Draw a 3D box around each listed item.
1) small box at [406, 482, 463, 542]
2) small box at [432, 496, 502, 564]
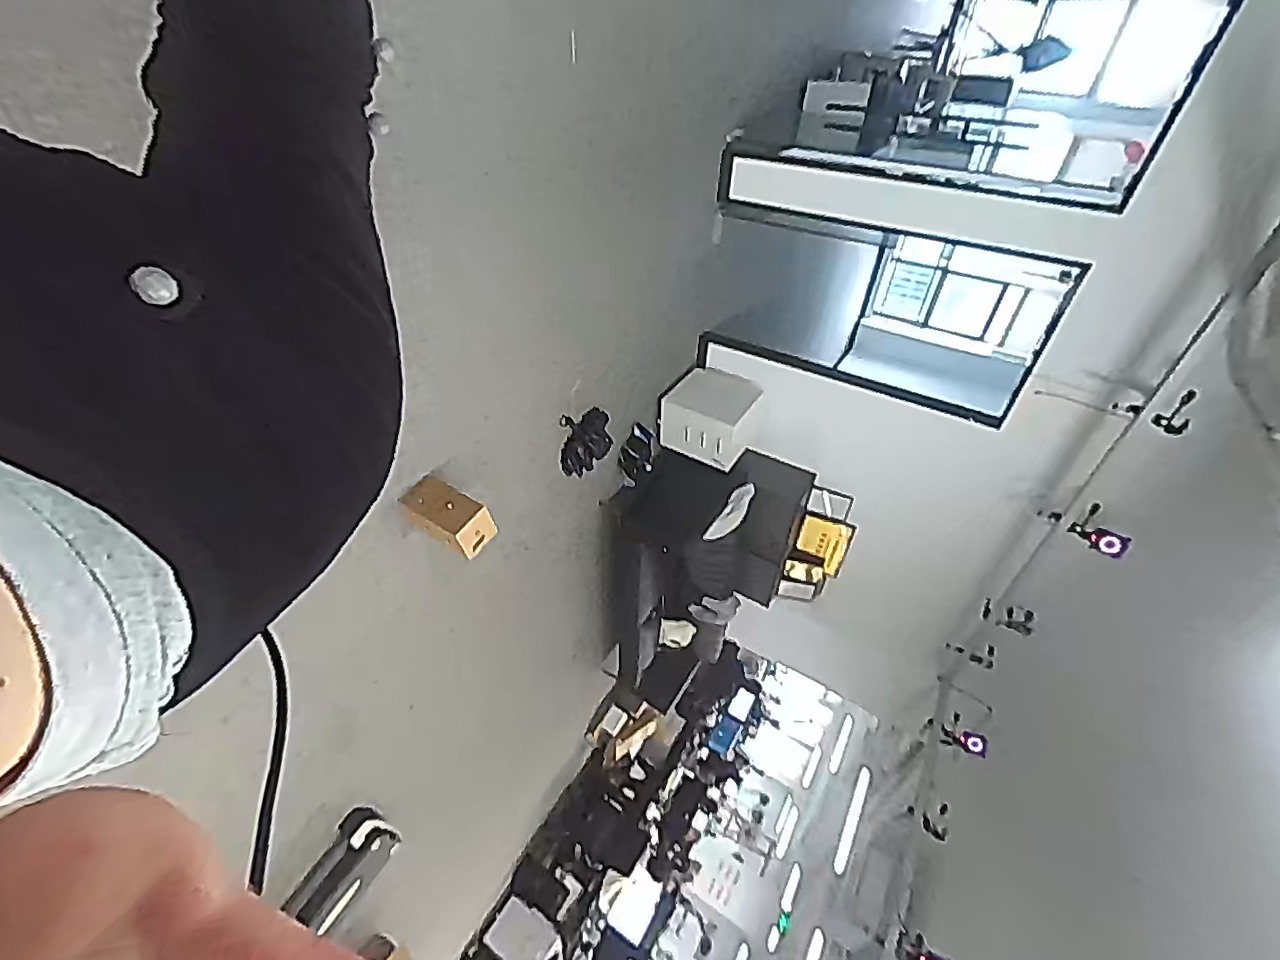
[{"bbox_3d":[-0.808,0.128,2.183,0.168,0.176,0.179,-51,154,-29],"label":"small box"},{"bbox_3d":[-0.674,0.192,2.111,0.168,0.176,0.179,-51,151,-30],"label":"small box"}]
